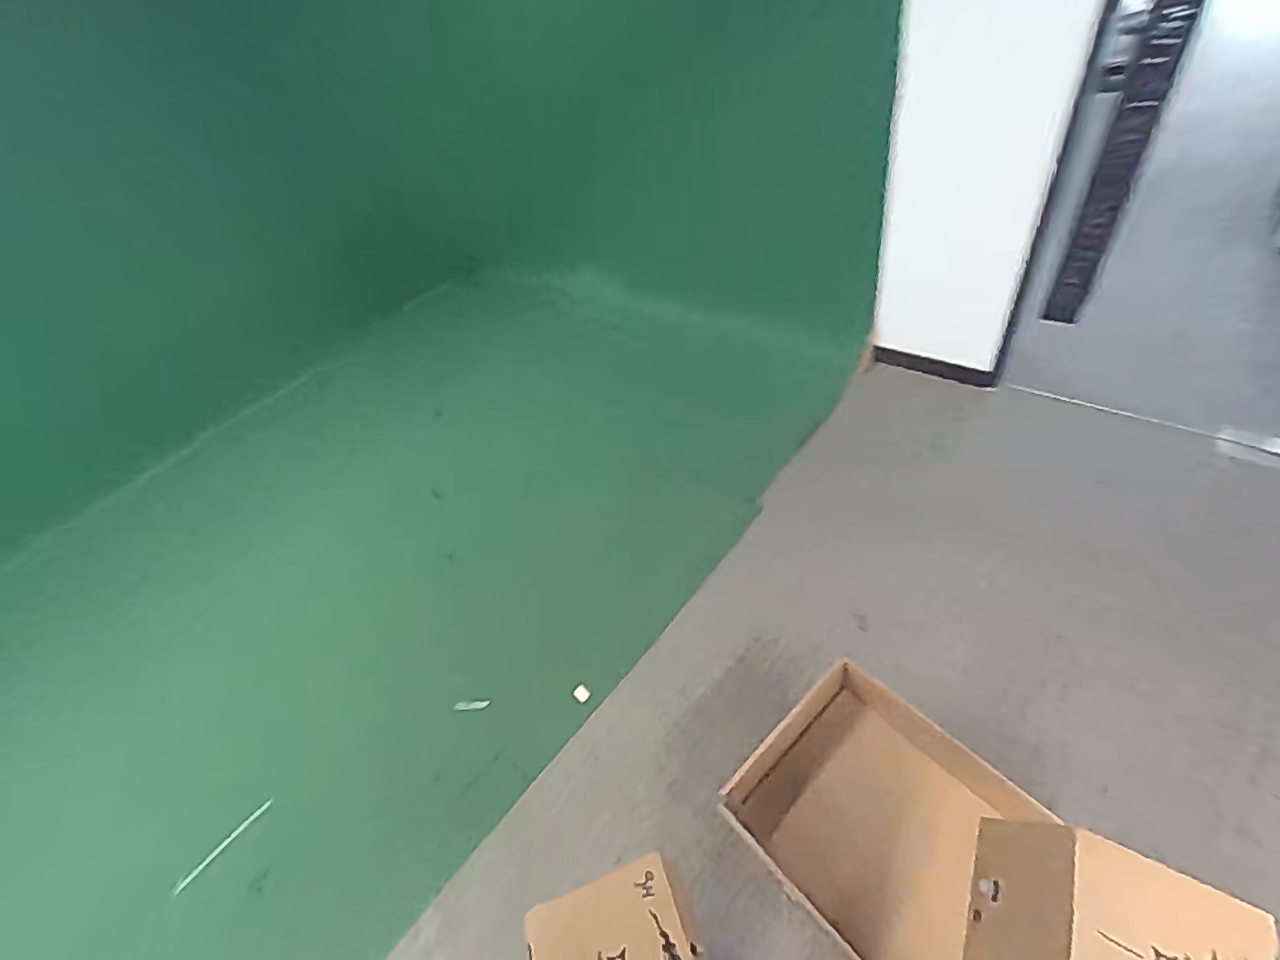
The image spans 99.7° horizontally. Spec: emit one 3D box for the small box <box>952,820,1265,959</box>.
[{"bbox_3d":[0.454,0.465,0.543,0.179,0.176,0.168,22,61,11],"label":"small box"}]

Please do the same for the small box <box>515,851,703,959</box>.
[{"bbox_3d":[-0.025,0.579,0.644,0.179,0.176,0.168,-23,48,-4],"label":"small box"}]
